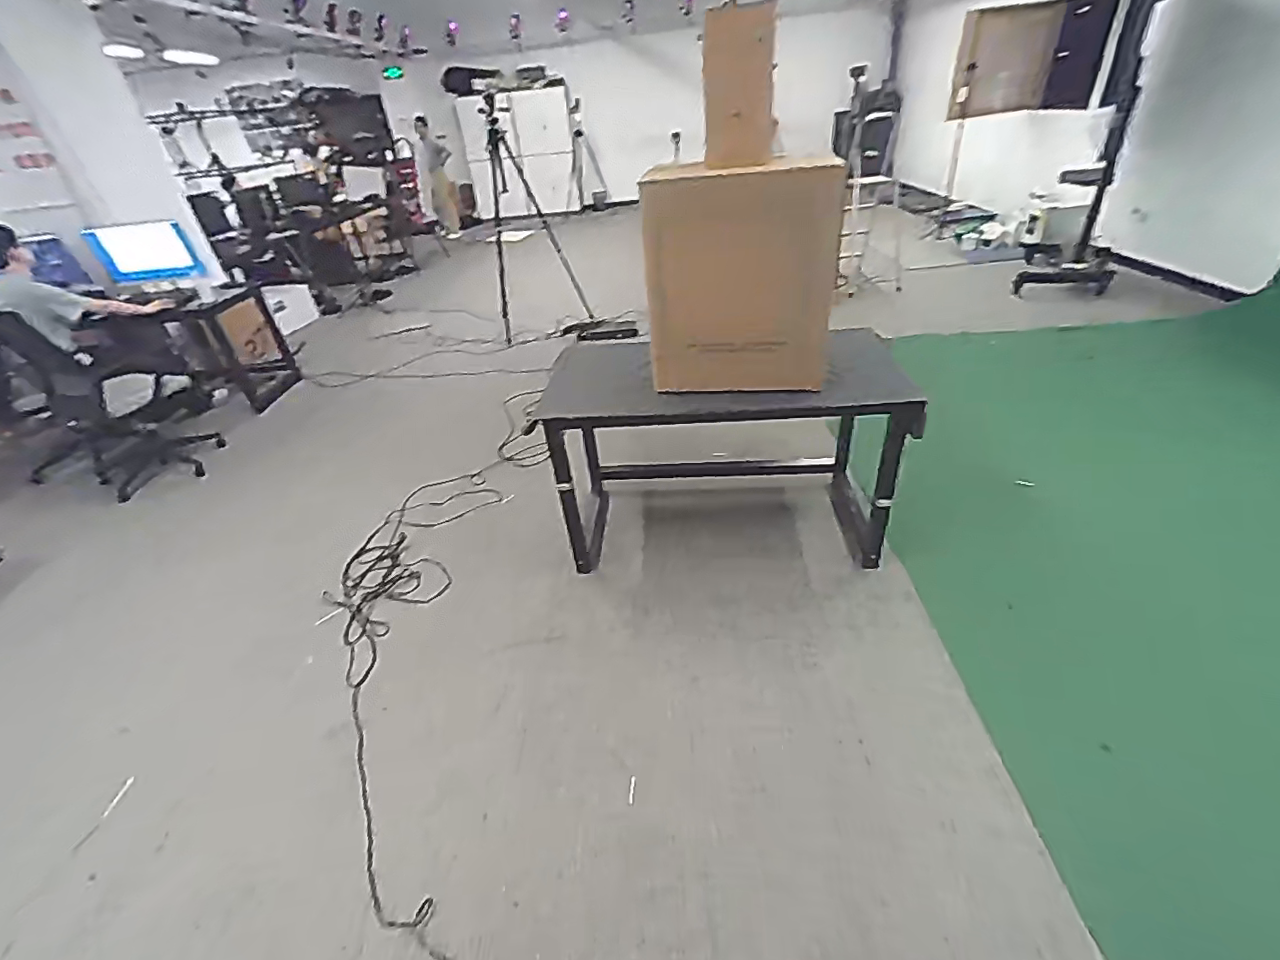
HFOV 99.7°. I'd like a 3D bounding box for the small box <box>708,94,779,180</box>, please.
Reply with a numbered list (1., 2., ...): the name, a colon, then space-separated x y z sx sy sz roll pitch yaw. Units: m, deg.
1. small box: 0.277 -0.921 1.453 0.179 0.176 0.168 2 38 12
